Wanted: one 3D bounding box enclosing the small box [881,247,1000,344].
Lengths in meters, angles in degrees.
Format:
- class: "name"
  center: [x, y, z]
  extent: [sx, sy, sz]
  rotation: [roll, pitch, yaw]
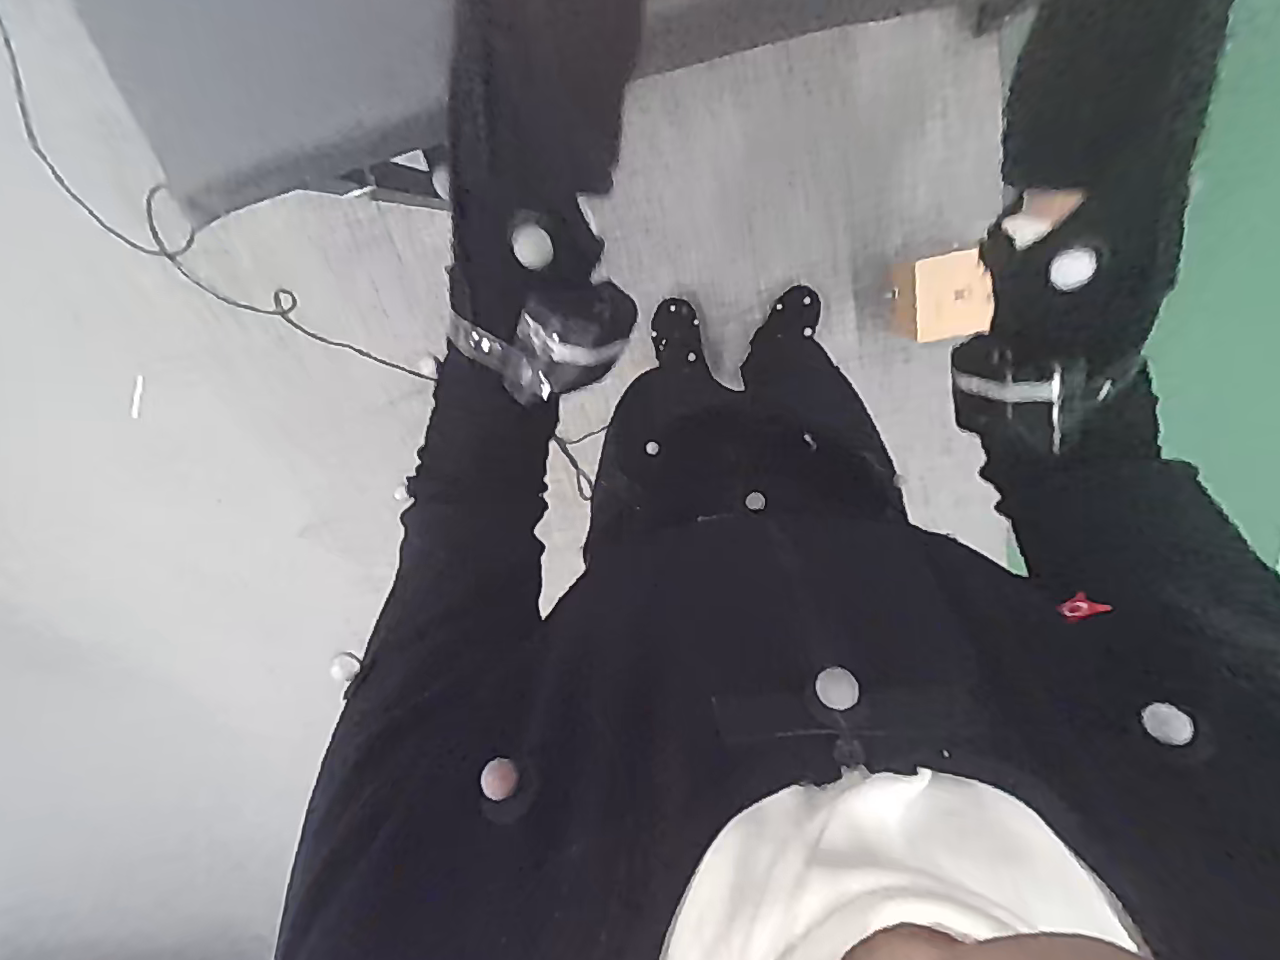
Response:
- class: "small box"
  center: [0.639, -0.401, 1.165]
  extent: [0.179, 0.176, 0.168]
  rotation: [-8, 111, 10]
